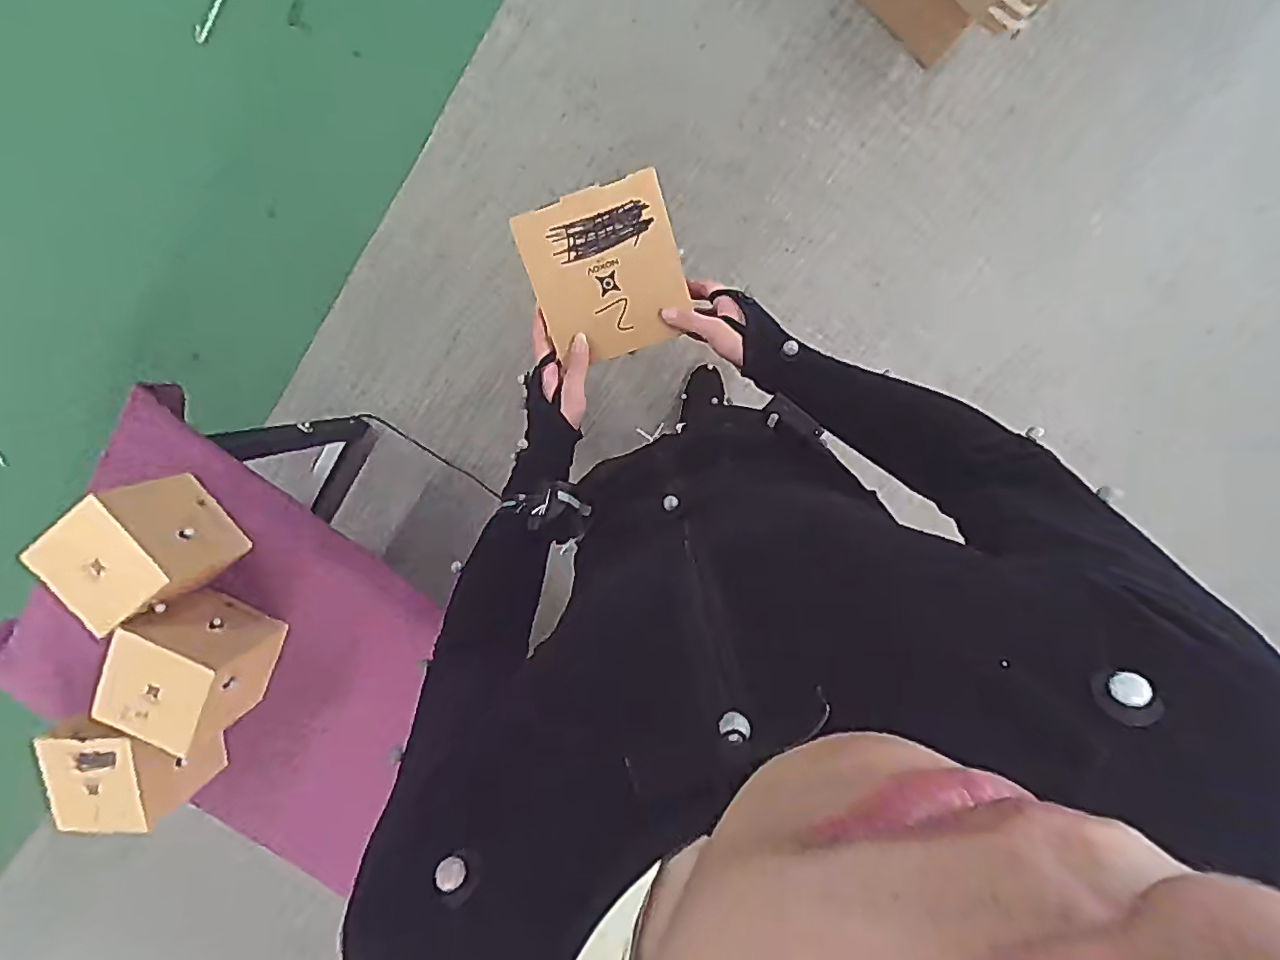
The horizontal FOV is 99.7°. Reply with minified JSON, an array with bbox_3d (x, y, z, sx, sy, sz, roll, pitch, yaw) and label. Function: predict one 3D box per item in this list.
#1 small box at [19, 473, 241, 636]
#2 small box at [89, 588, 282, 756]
[{"bbox_3d":[-0.801,0.109,0.876,0.179,0.176,0.168,-35,98,11],"label":"small box"},{"bbox_3d":[-0.752,0.312,0.915,0.168,0.176,0.179,26,102,-2],"label":"small box"}]
